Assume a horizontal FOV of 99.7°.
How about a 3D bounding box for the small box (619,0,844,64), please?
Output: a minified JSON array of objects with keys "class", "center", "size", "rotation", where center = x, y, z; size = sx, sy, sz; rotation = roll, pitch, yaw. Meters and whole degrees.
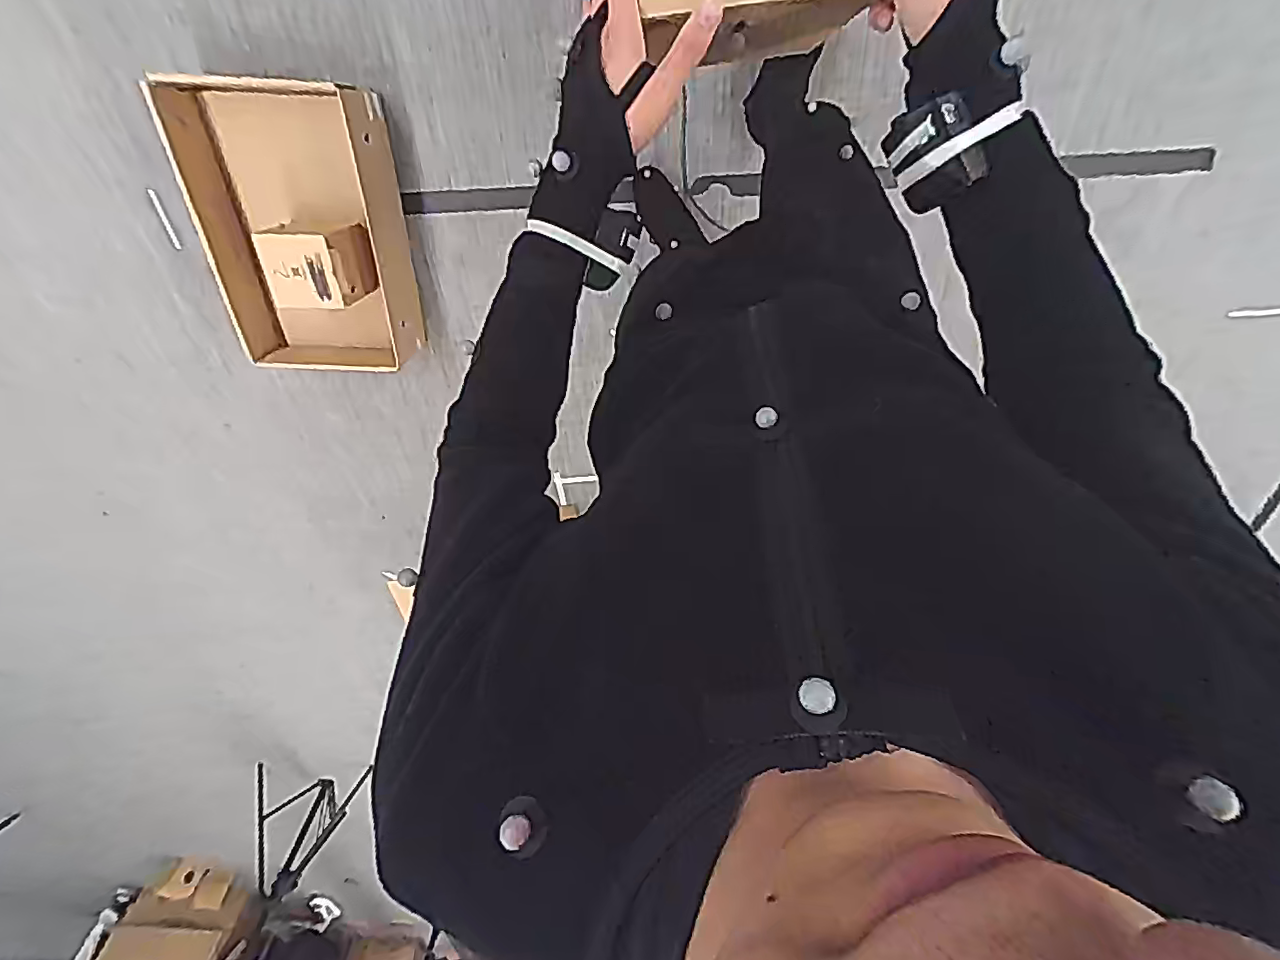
[{"class":"small box","center":[0.067,-0.431,0.397],"size":[0.179,0.176,0.168],"rotation":[-8,117,-1]}]
